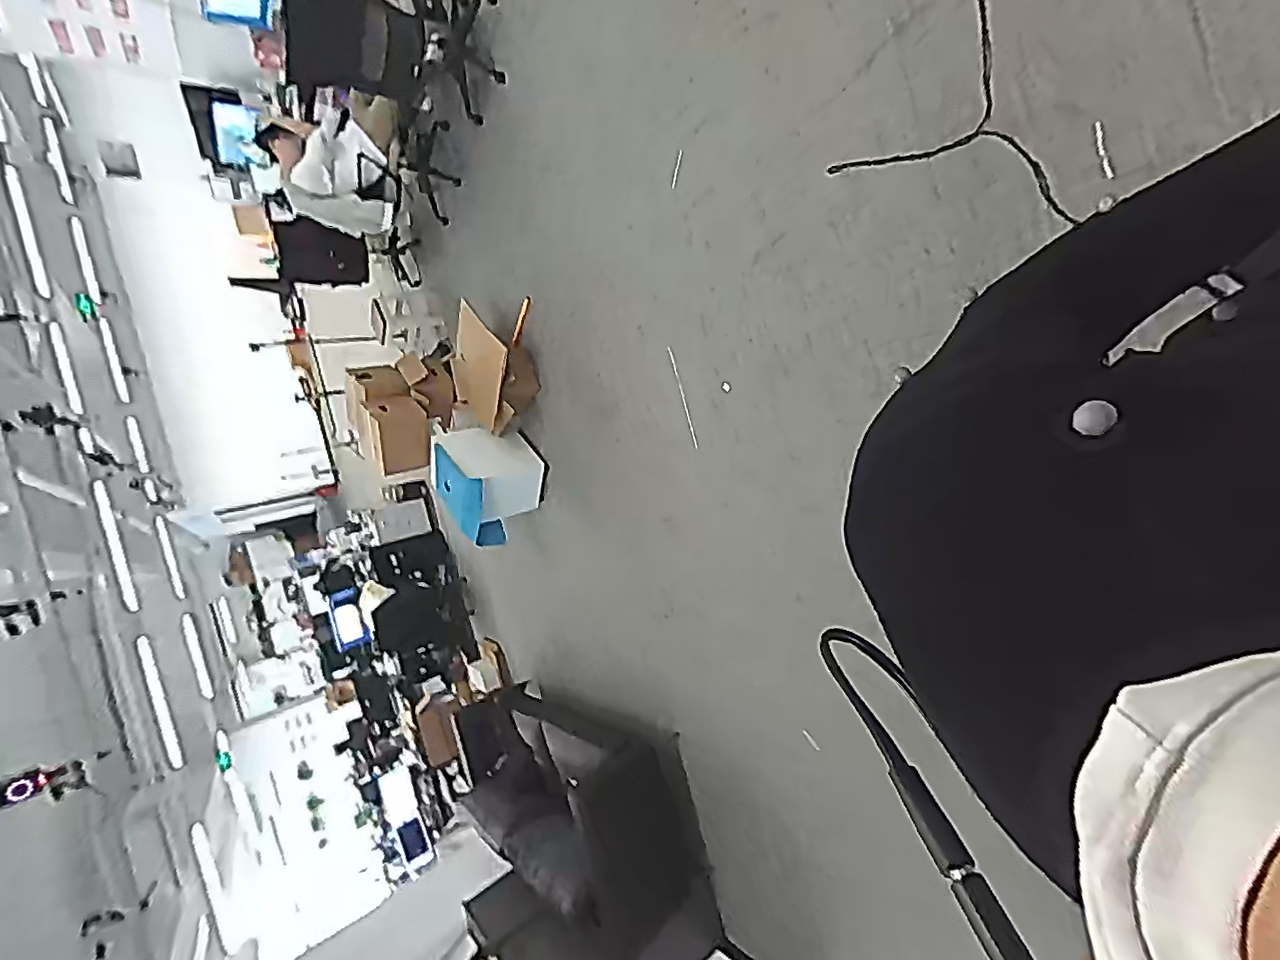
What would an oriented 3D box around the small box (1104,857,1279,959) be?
[{"bbox_3d":[0.850,0.739,0.833,0.168,0.176,0.179,-4,99,55],"label":"small box"}]
